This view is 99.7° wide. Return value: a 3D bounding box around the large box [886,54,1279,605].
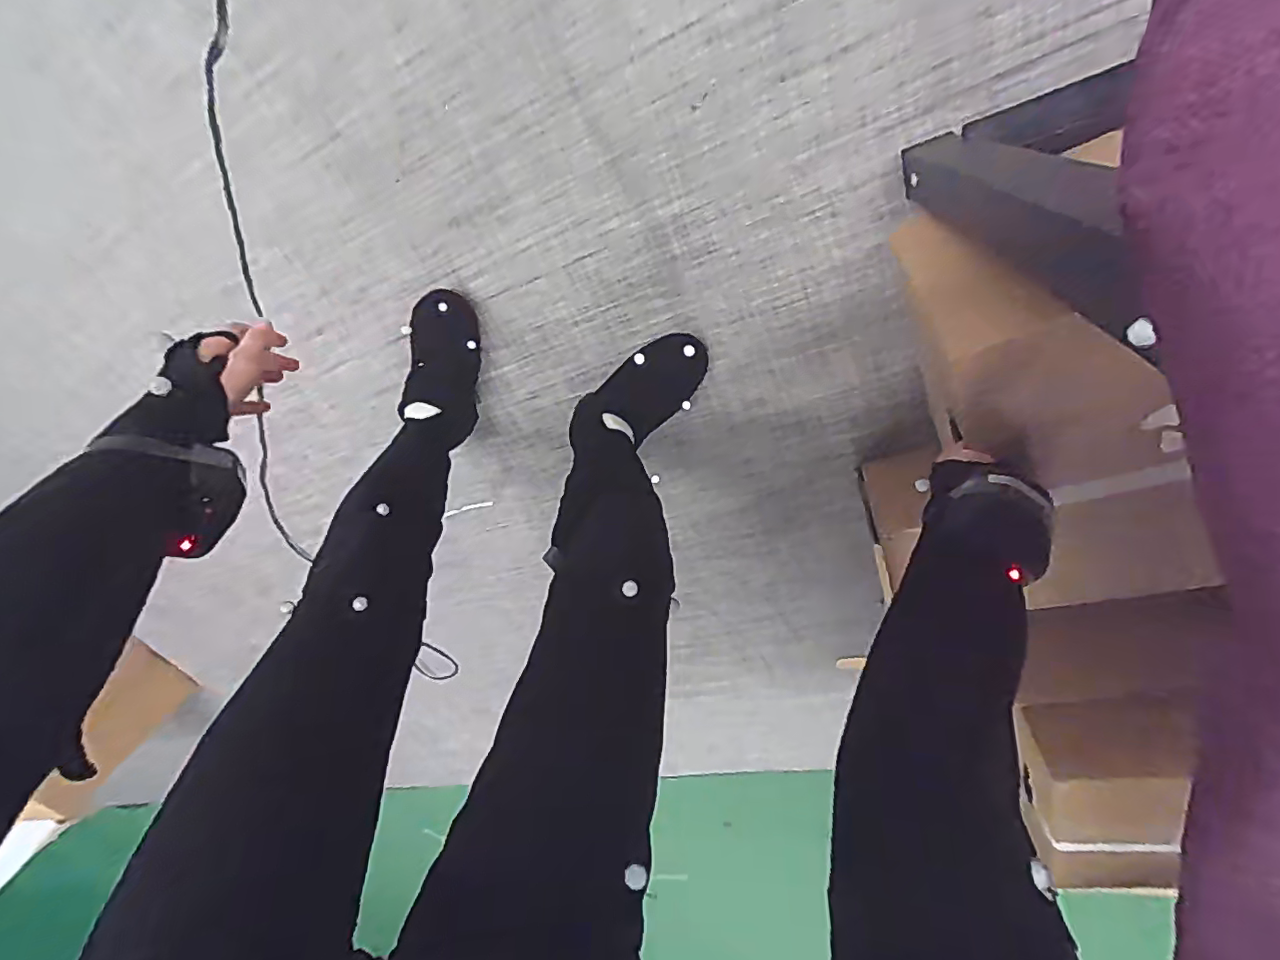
[{"bbox_3d":[0.489,-0.130,0.492,0.408,0.320,0.320,-17,123,27],"label":"large box"}]
